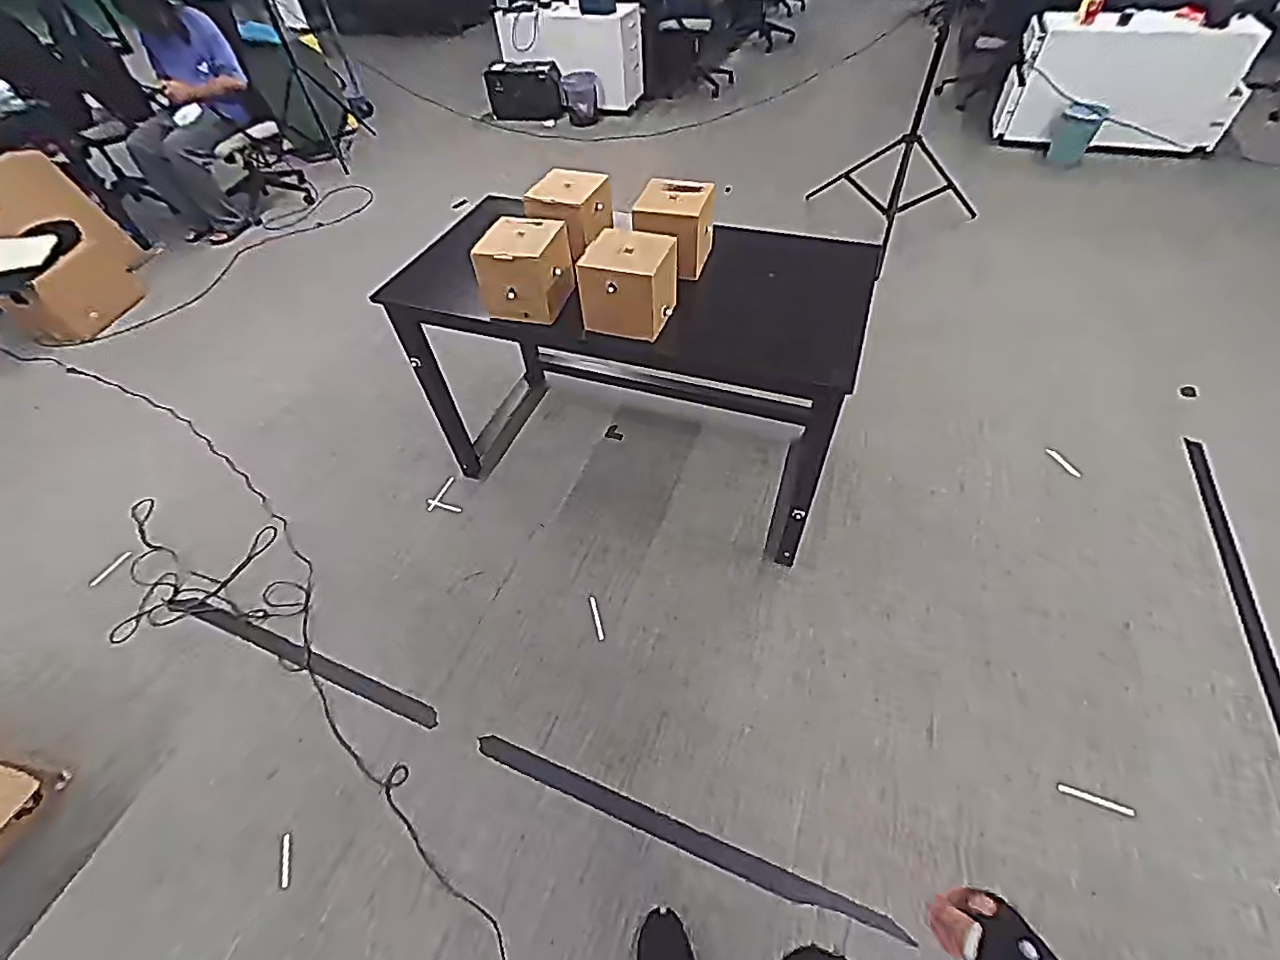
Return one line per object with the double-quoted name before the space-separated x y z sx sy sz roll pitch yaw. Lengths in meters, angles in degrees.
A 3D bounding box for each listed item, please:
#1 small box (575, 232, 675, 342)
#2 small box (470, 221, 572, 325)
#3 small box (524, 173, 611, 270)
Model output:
"small box" -0.027 -0.435 1.227 0.179 0.176 0.168 14 53 14
"small box" -0.271 -0.490 1.287 0.168 0.176 0.179 9 52 11
"small box" -0.184 -0.690 1.447 0.168 0.176 0.179 15 54 16
